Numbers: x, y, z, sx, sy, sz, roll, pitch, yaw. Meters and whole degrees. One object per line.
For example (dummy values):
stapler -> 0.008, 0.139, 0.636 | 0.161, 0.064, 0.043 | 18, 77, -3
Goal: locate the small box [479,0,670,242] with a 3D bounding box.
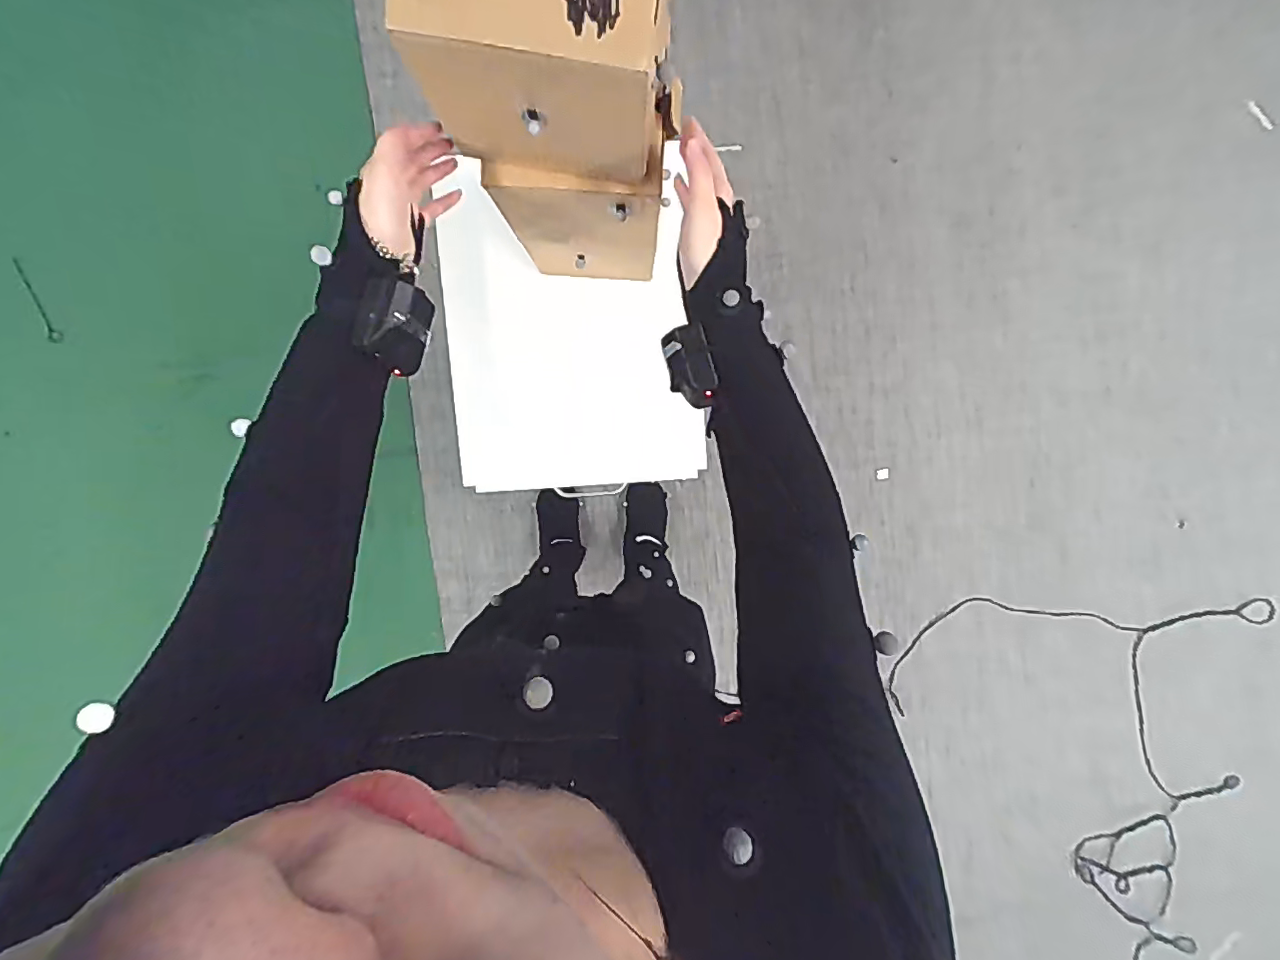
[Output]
small box -> -0.064, -0.371, 0.587 | 0.179, 0.176, 0.168 | 2, 96, -2

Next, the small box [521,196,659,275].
small box -> -0.062, -0.392, 0.748 | 0.179, 0.176, 0.168 | 3, 97, -1
